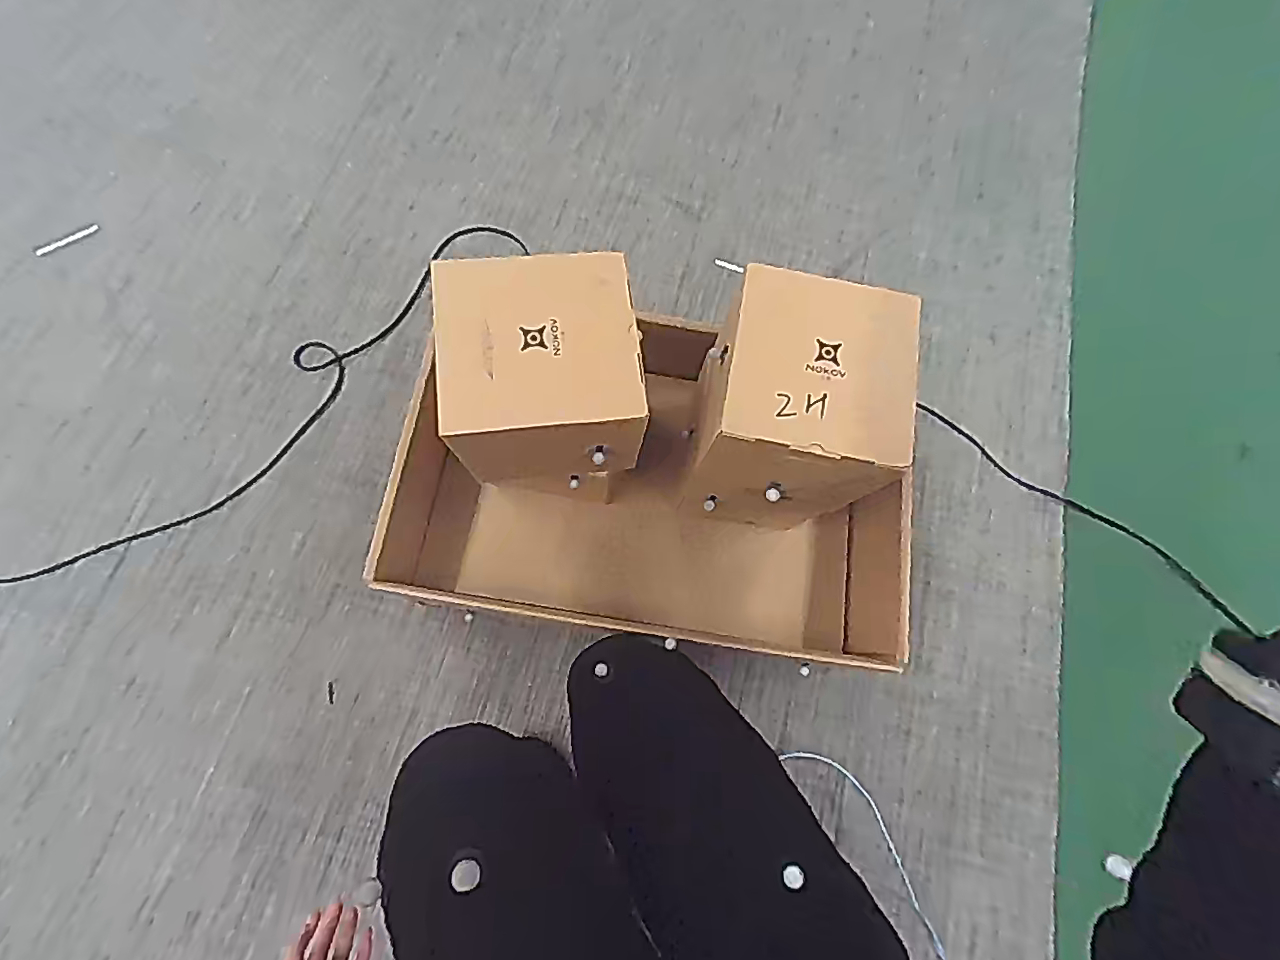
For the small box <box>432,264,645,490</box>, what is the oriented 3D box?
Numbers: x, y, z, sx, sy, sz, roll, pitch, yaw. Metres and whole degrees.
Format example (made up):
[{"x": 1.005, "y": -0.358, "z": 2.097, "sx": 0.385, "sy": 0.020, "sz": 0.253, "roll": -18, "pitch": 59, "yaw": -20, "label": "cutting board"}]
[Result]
[{"x": -0.097, "y": -0.093, "z": 0.547, "sx": 0.179, "sy": 0.176, "sz": 0.168, "roll": -6, "pitch": 76, "yaw": -6, "label": "small box"}]

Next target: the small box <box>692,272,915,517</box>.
[{"x": 0.154, "y": -0.075, "z": 0.554, "sx": 0.168, "sy": 0.176, "sz": 0.179, "roll": 11, "pitch": 75, "yaw": 0, "label": "small box"}]
